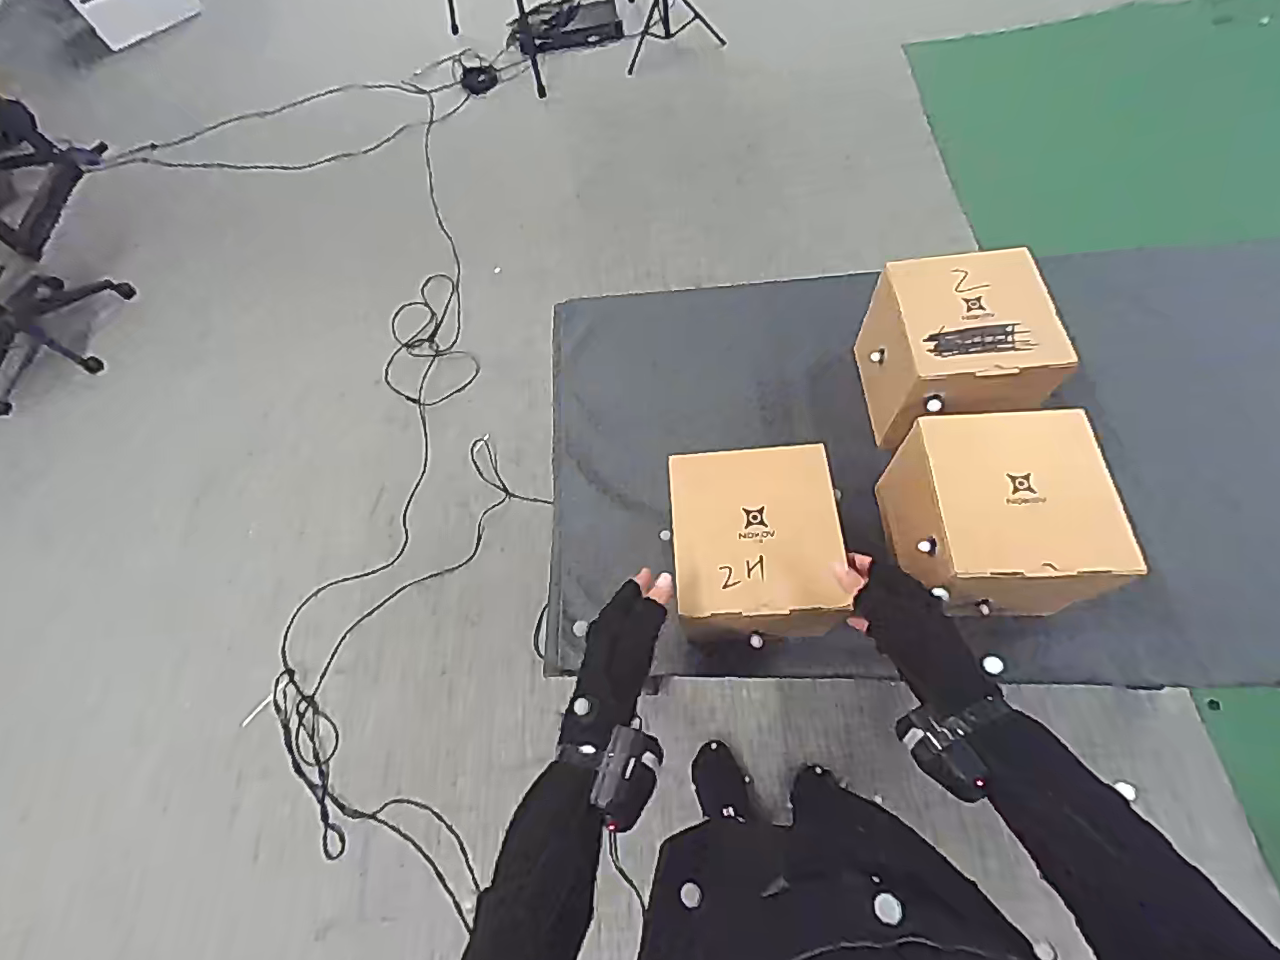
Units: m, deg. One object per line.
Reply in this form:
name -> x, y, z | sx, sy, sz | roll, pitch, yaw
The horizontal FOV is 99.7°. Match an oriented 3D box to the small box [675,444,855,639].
small box -> 0.129, 0.078, 0.620 | 0.168, 0.176, 0.179 | -5, 66, 6
